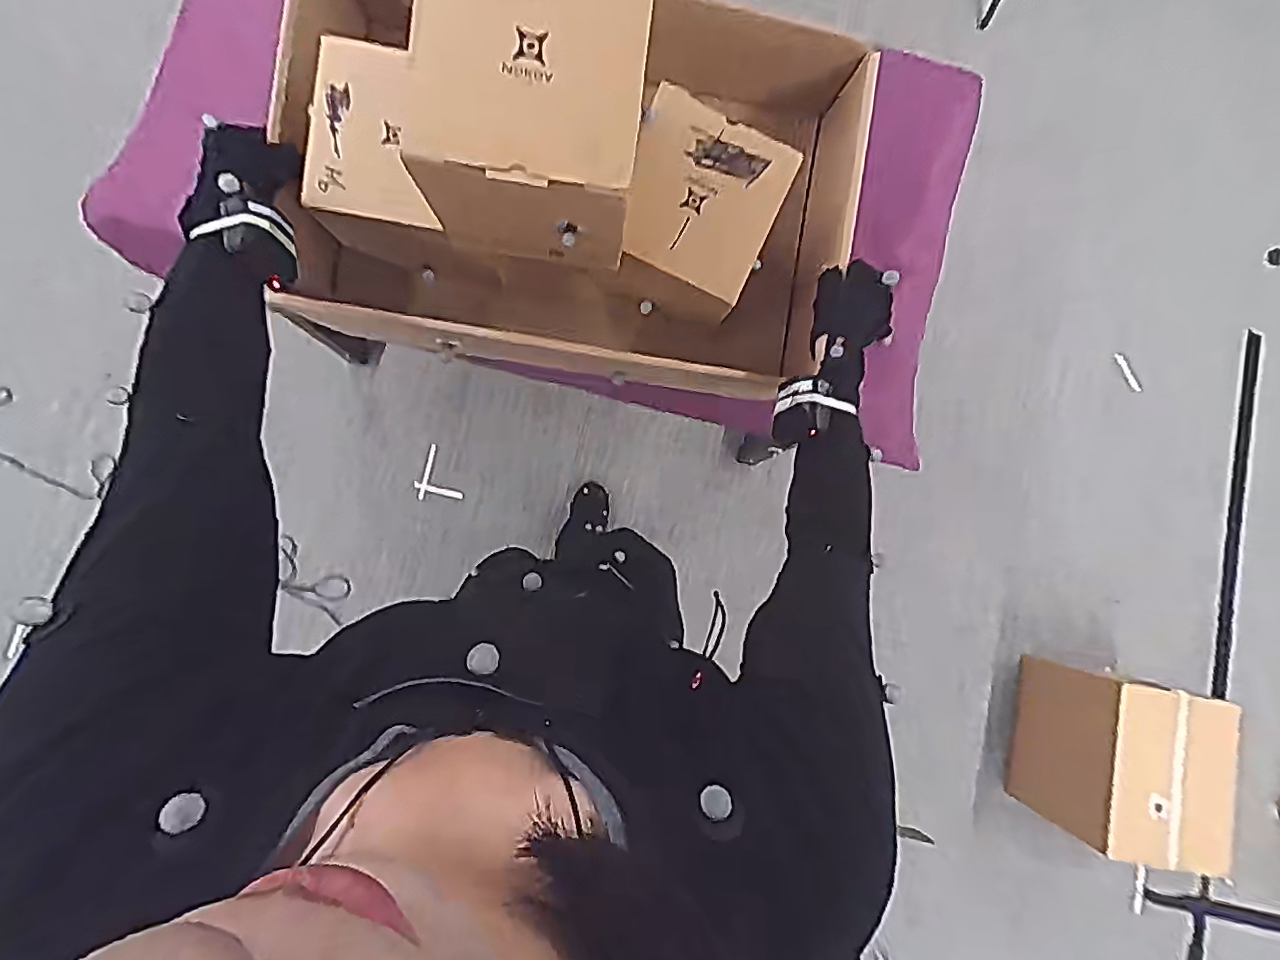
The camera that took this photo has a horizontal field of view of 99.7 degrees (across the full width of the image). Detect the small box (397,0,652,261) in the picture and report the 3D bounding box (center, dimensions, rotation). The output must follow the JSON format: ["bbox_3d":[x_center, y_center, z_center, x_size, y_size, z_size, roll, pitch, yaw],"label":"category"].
[{"bbox_3d":[-0.086,-0.308,0.458,0.168,0.176,0.179,7,91,-7],"label":"small box"}]

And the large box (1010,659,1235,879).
[{"bbox_3d":[1.242,0.726,1.421,0.320,0.320,0.408,11,84,-3],"label":"large box"}]
